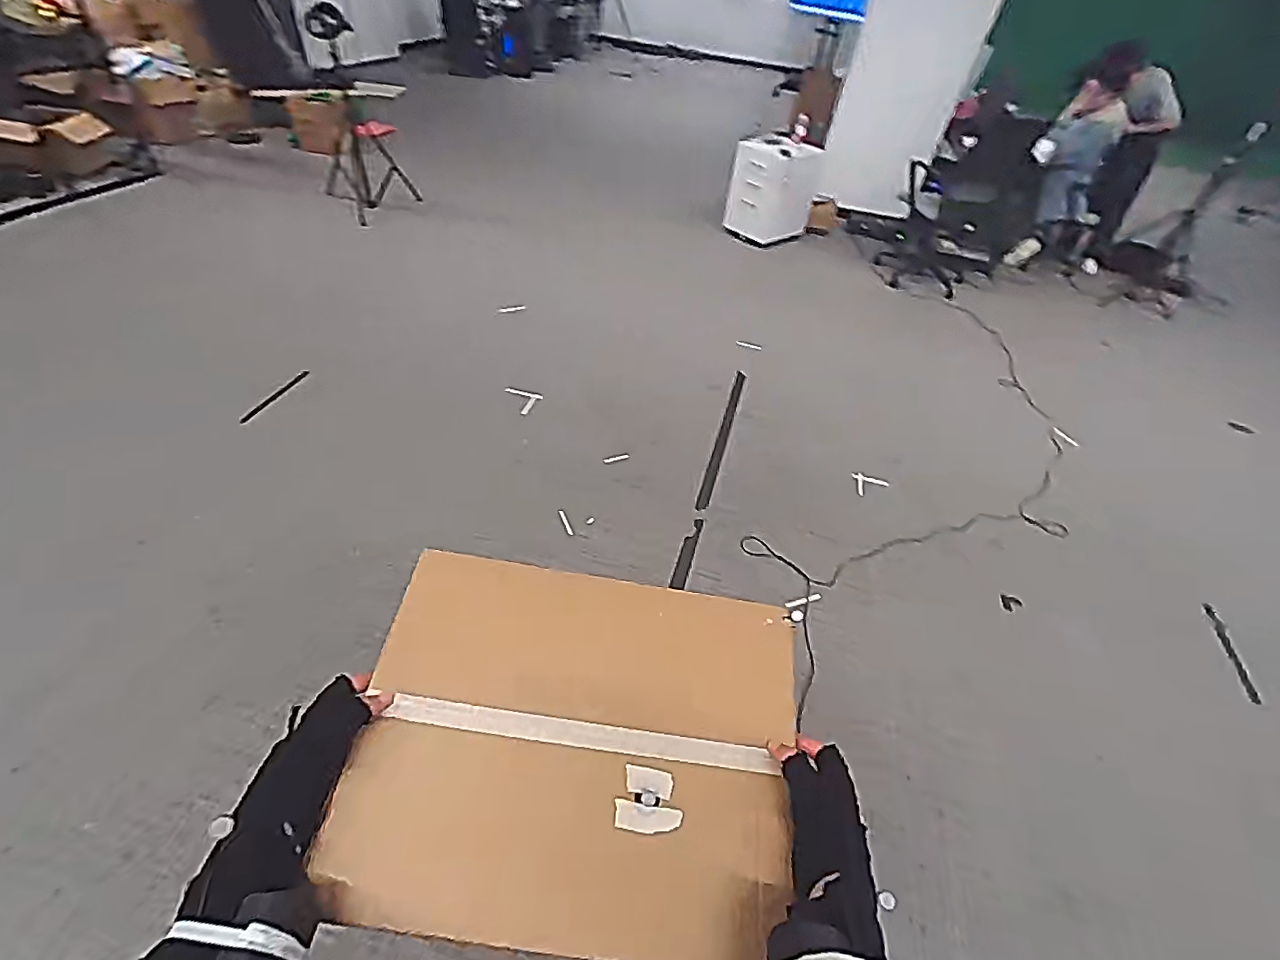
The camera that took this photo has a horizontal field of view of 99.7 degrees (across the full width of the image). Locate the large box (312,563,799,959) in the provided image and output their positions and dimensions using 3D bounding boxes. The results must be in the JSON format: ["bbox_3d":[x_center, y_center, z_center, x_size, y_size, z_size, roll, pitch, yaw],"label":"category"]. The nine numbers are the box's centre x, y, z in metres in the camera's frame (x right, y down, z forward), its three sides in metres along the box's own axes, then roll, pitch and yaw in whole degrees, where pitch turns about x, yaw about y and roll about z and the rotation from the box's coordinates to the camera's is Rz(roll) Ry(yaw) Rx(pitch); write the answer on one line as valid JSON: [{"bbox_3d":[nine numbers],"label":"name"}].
[{"bbox_3d":[-0.068,0.328,0.637,0.408,0.320,0.320,10,57,-2],"label":"large box"}]
